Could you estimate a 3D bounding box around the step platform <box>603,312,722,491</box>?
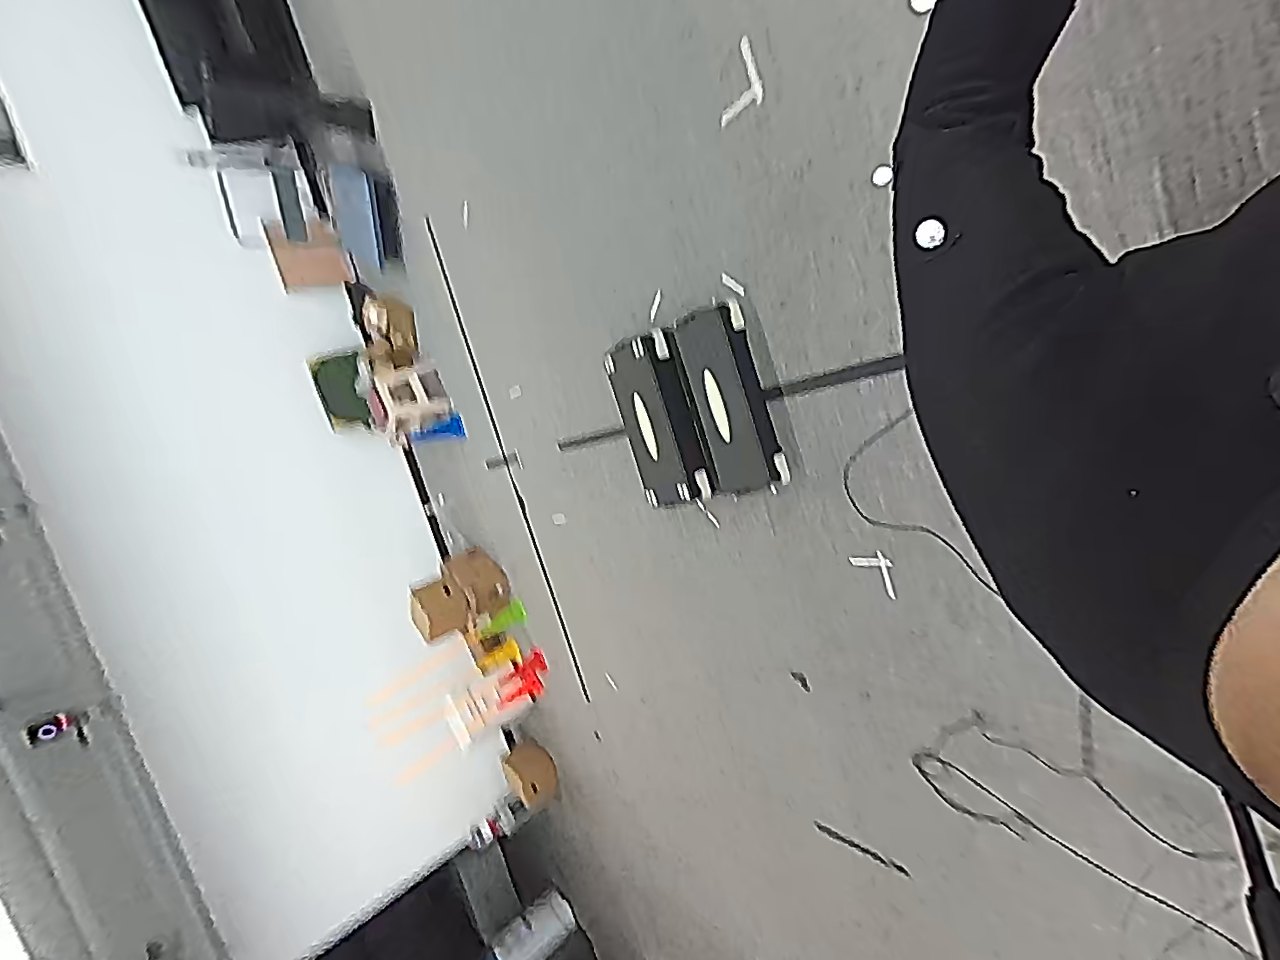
[{"bbox_3d":[0.082,-0.295,2.141,0.286,0.204,0.684,-11,97,53],"label":"step platform"}]
